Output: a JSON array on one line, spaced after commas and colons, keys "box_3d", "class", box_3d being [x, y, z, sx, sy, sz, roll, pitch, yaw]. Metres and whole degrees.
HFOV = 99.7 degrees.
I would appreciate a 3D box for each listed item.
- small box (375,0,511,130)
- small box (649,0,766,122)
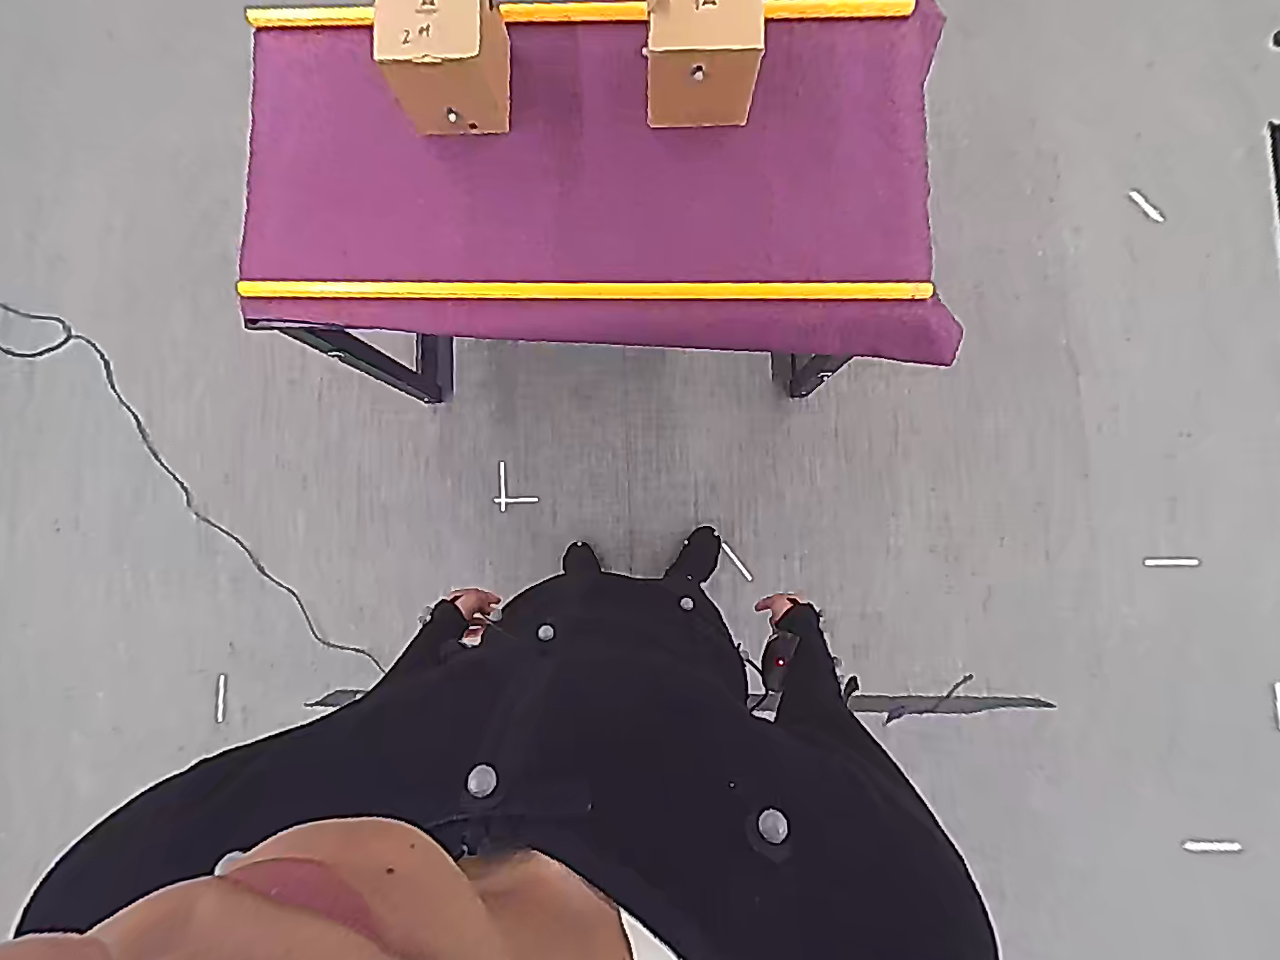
[{"box_3d": [-0.319, -0.727, 0.905, 0.168, 0.176, 0.179, 1, 88, 2], "class": "small box"}, {"box_3d": [0.104, -0.724, 0.892, 0.179, 0.176, 0.168, 0, 87, 3], "class": "small box"}]
